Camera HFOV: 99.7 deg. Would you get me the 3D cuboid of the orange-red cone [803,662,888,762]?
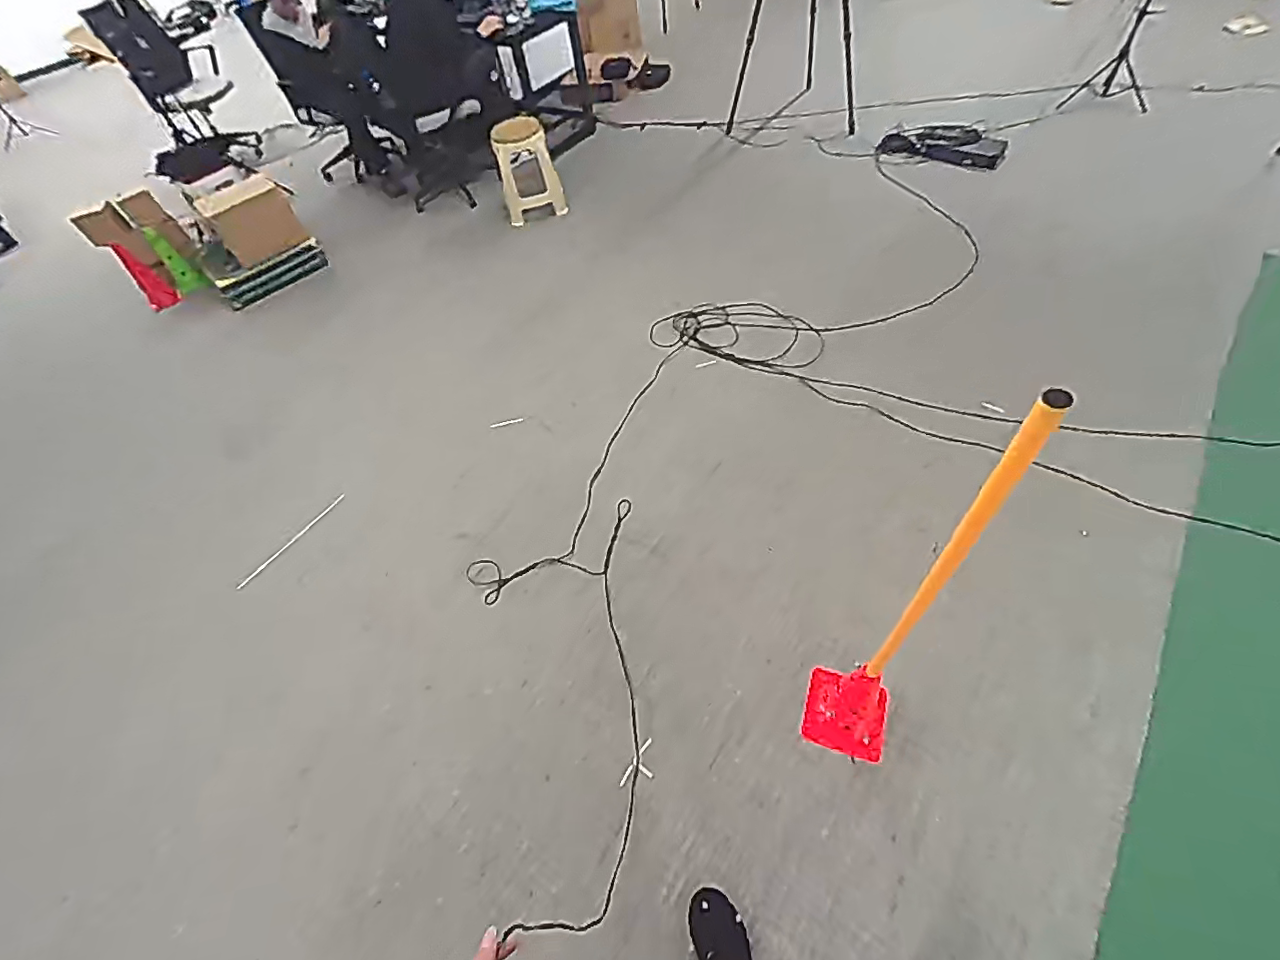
[{"bbox_3d":[0.524,0.511,1.294,0.198,0.360,0.199,14,56,18],"label":"orange-red cone"}]
